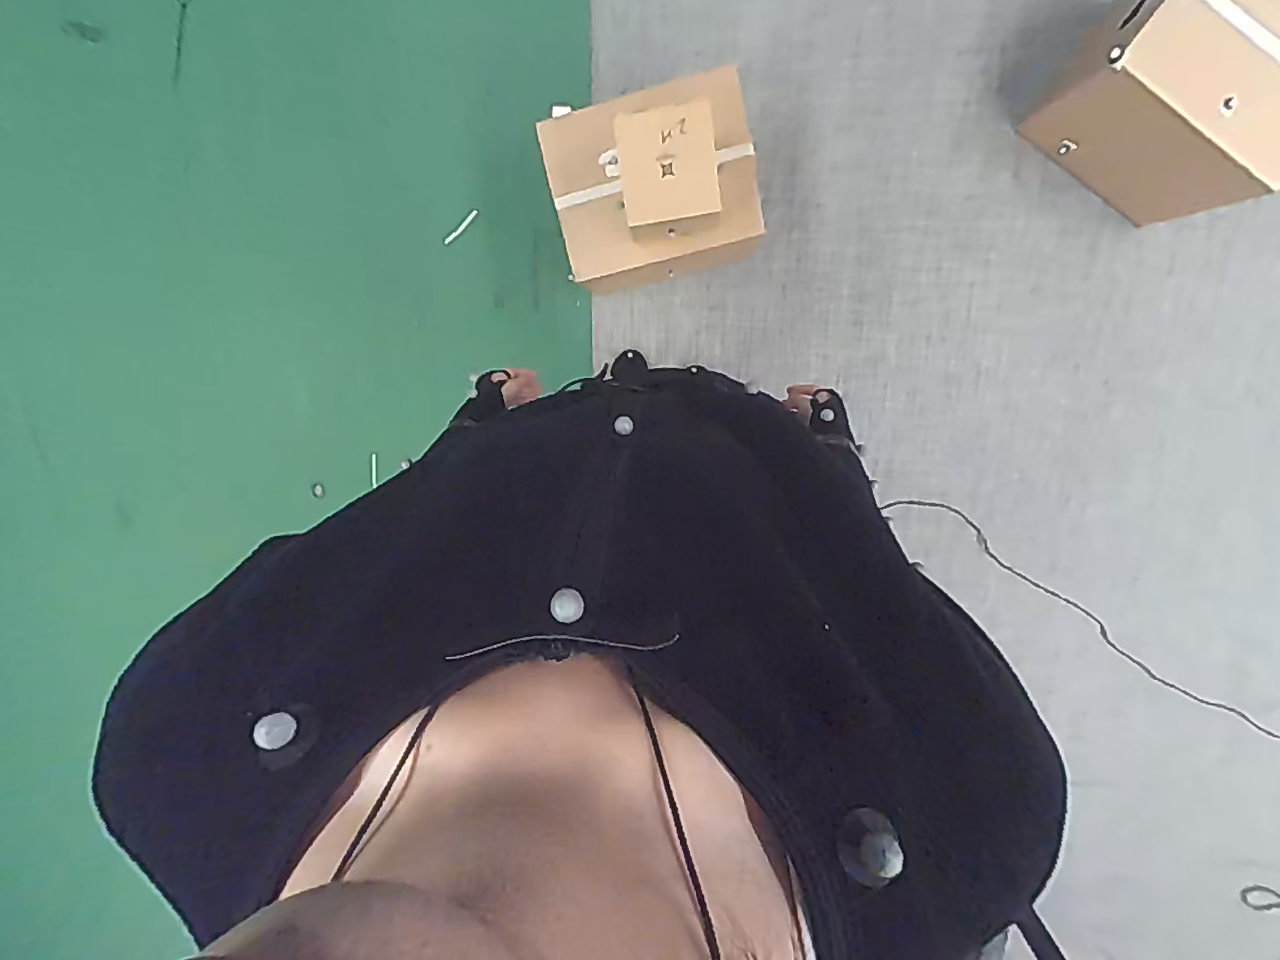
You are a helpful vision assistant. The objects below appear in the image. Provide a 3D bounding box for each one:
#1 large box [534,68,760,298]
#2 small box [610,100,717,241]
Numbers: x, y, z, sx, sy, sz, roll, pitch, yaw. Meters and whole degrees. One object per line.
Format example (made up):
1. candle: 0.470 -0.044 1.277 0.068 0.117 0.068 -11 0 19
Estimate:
1. large box: 0.027 -0.626 1.218 0.408 0.320 0.320 -12 101 7
2. small box: 0.045 -0.545 0.981 0.168 0.176 0.179 -7 103 4
